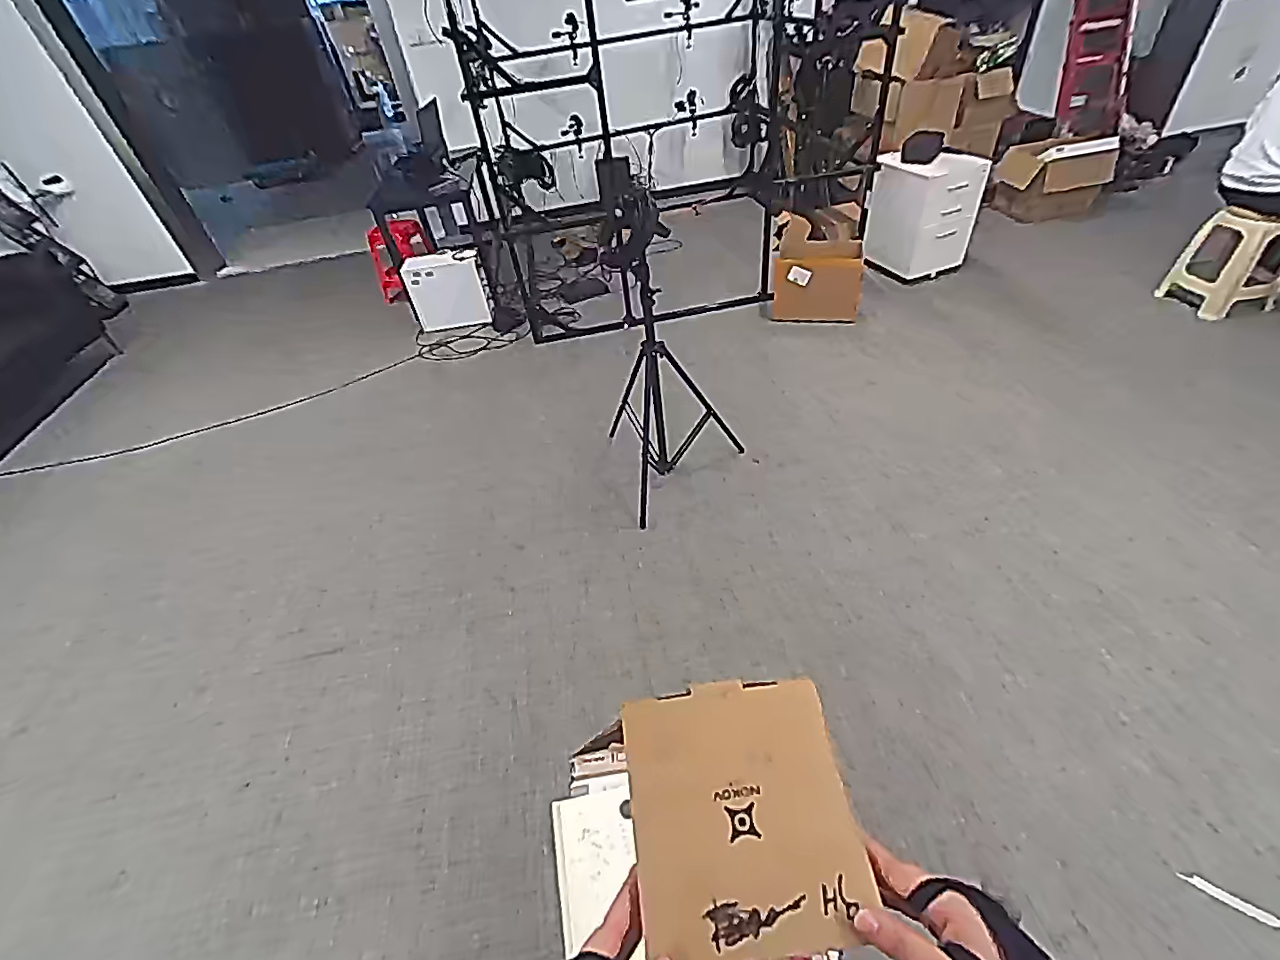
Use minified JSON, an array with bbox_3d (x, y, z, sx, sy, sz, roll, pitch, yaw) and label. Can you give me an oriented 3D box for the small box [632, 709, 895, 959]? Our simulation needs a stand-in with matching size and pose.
[{"bbox_3d":[0.084,0.320,0.467,0.168,0.176,0.179,-7,53,-2],"label":"small box"}]
